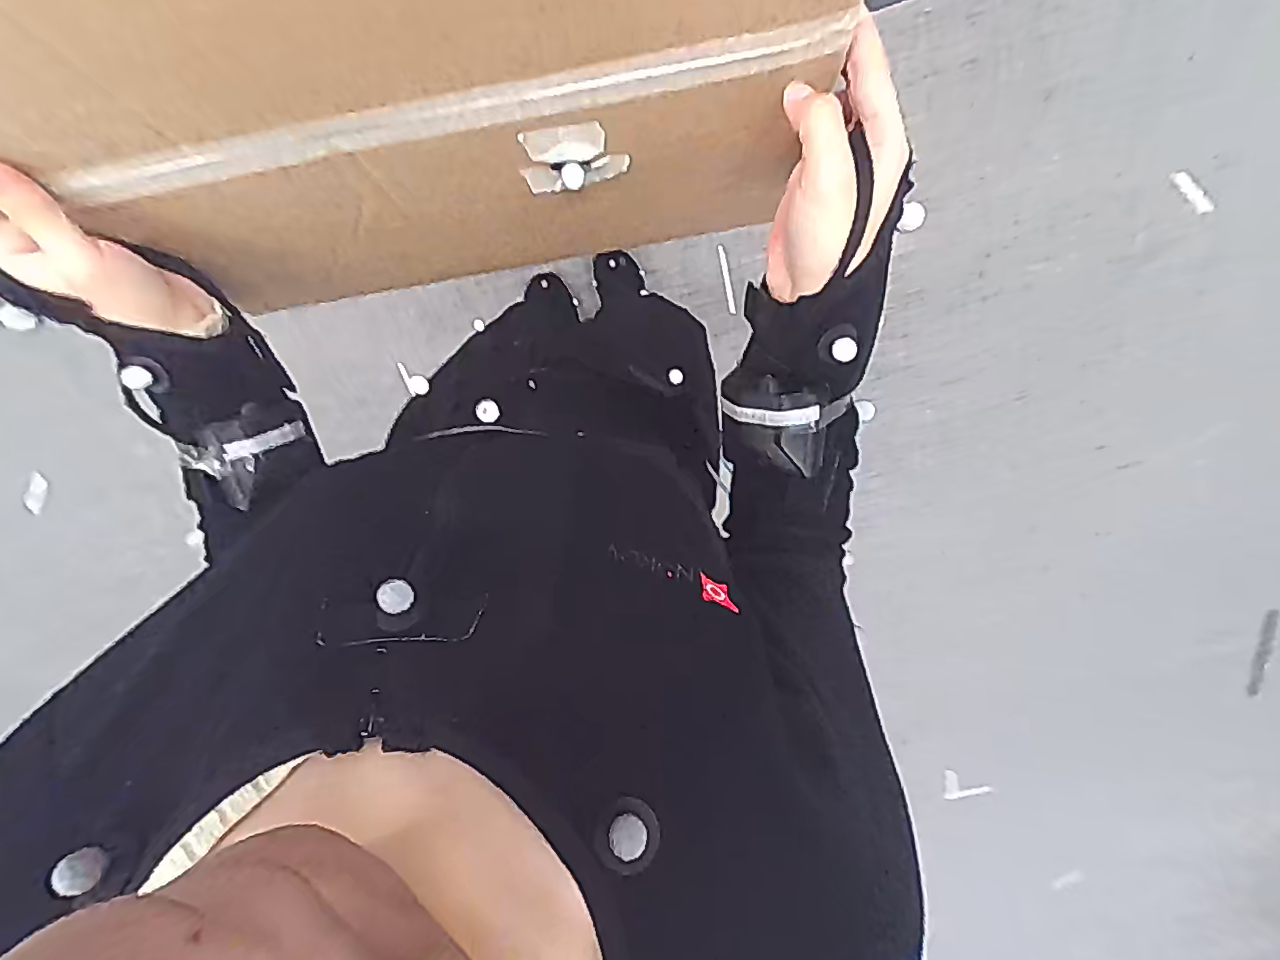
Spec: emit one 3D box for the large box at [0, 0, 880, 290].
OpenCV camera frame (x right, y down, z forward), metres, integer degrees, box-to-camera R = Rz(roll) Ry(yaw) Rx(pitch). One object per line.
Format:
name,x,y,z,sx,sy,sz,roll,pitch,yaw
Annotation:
large box,-0.116,-0.328,0.240,0.408,0.320,0.320,-10,86,3
